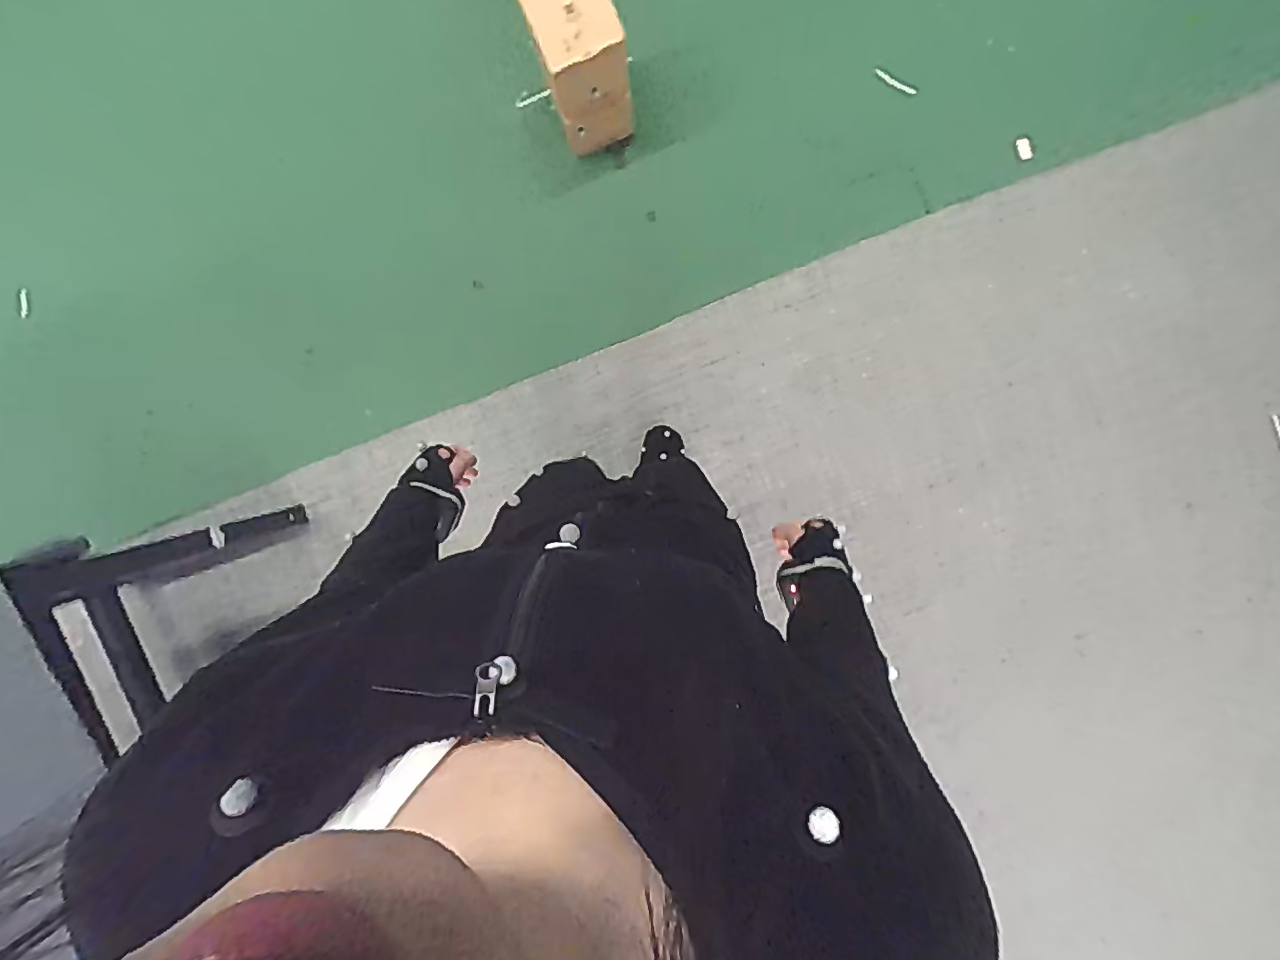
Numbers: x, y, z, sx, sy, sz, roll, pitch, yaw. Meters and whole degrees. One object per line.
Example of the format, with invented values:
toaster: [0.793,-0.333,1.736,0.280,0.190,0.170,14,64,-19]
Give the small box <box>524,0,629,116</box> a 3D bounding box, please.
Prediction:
small box: [-0.131,-0.933,1.151,0.168,0.176,0.179,-23,95,4]
